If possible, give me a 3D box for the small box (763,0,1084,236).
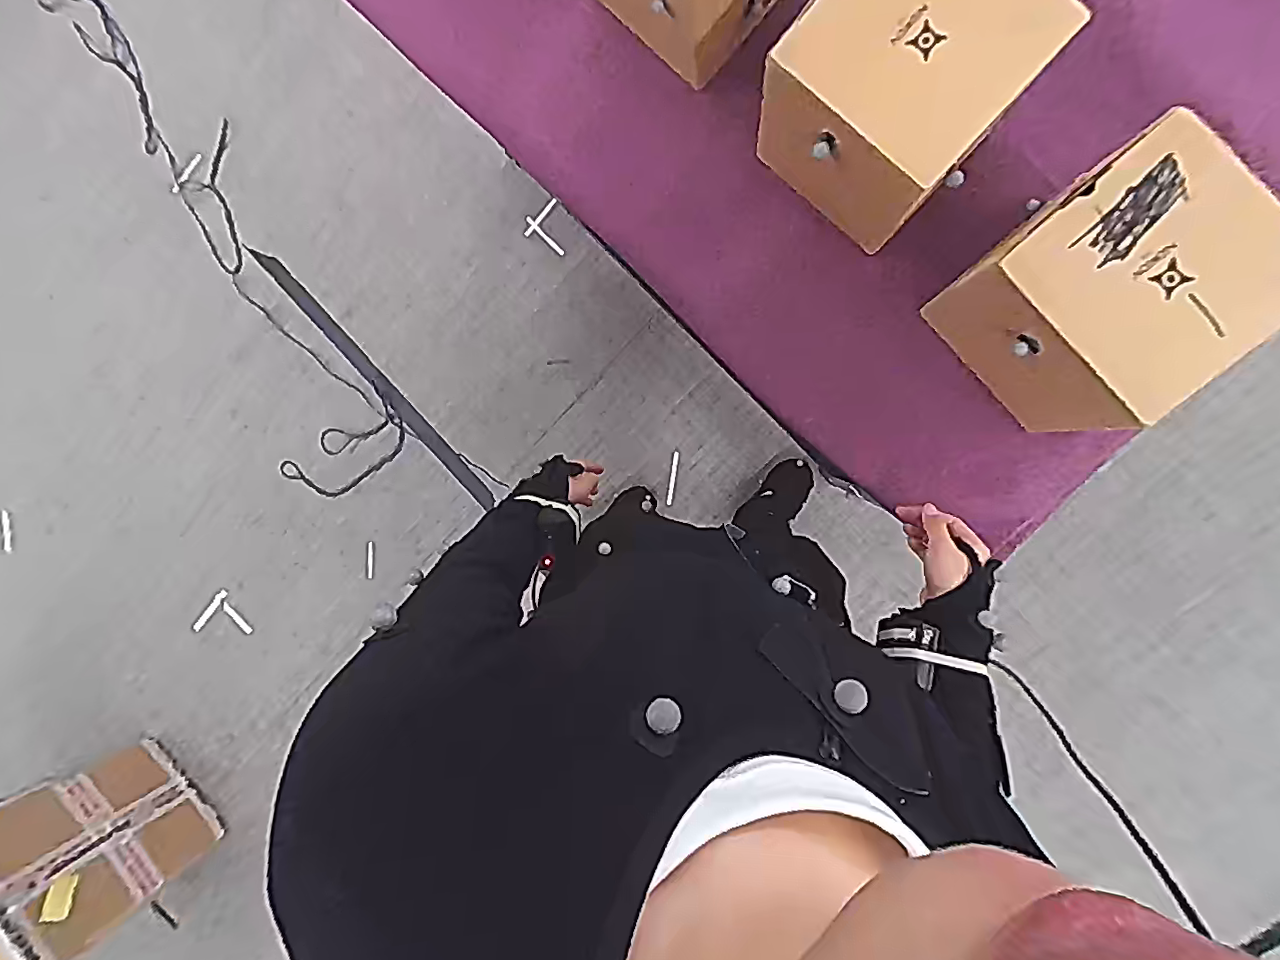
[{"bbox_3d":[0.236,-0.359,0.505,0.179,0.176,0.168,44,100,4],"label":"small box"}]

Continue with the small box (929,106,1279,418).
[{"bbox_3d":[0.406,-0.169,0.489,0.168,0.176,0.179,-41,88,9],"label":"small box"}]
